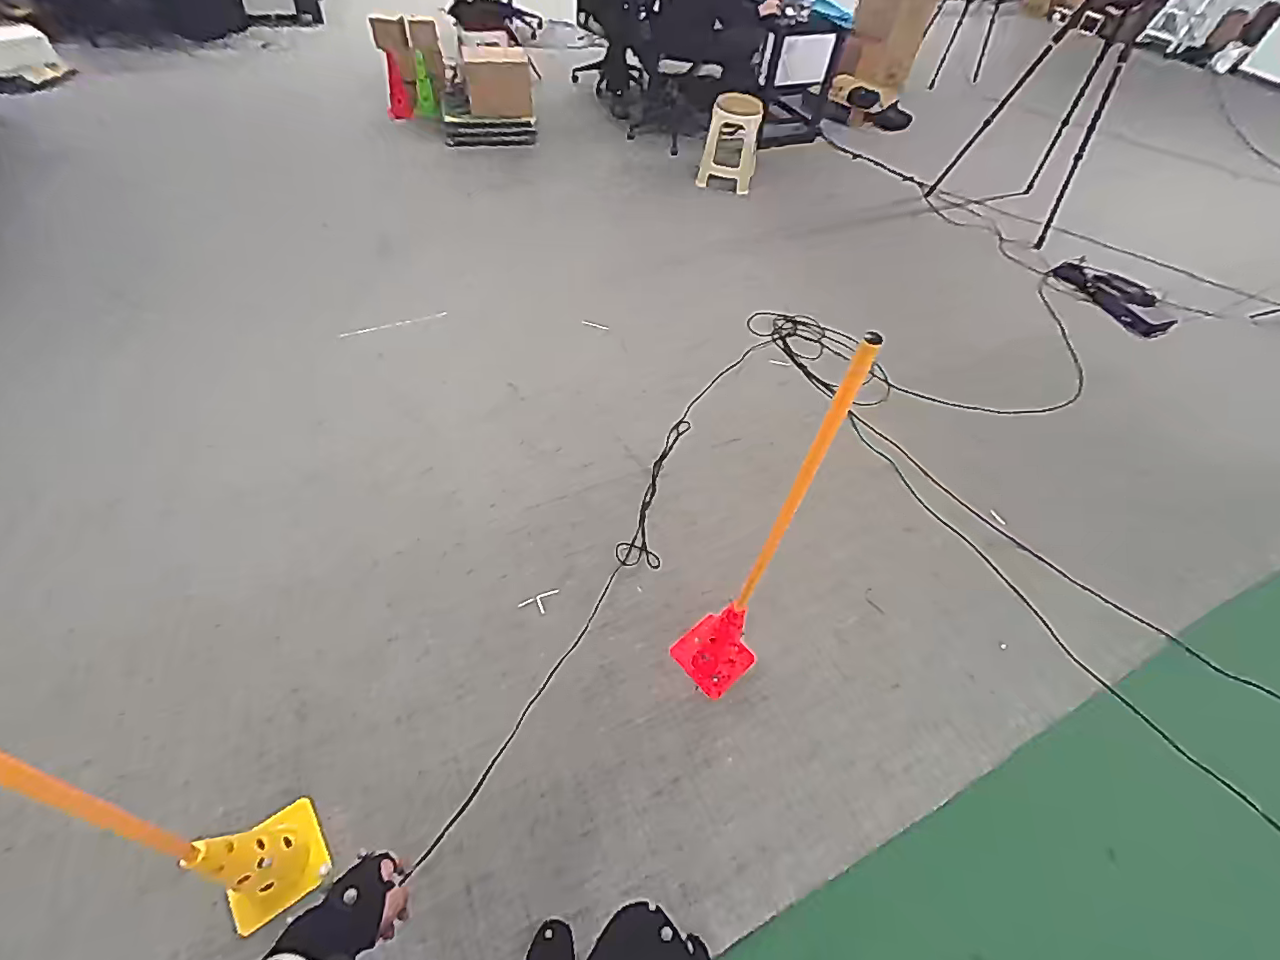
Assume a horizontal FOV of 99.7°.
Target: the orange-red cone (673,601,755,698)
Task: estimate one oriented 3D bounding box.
[{"bbox_3d":[0.241,0.424,1.497,0.199,0.360,0.198,-31,63,-28],"label":"orange-red cone"}]
